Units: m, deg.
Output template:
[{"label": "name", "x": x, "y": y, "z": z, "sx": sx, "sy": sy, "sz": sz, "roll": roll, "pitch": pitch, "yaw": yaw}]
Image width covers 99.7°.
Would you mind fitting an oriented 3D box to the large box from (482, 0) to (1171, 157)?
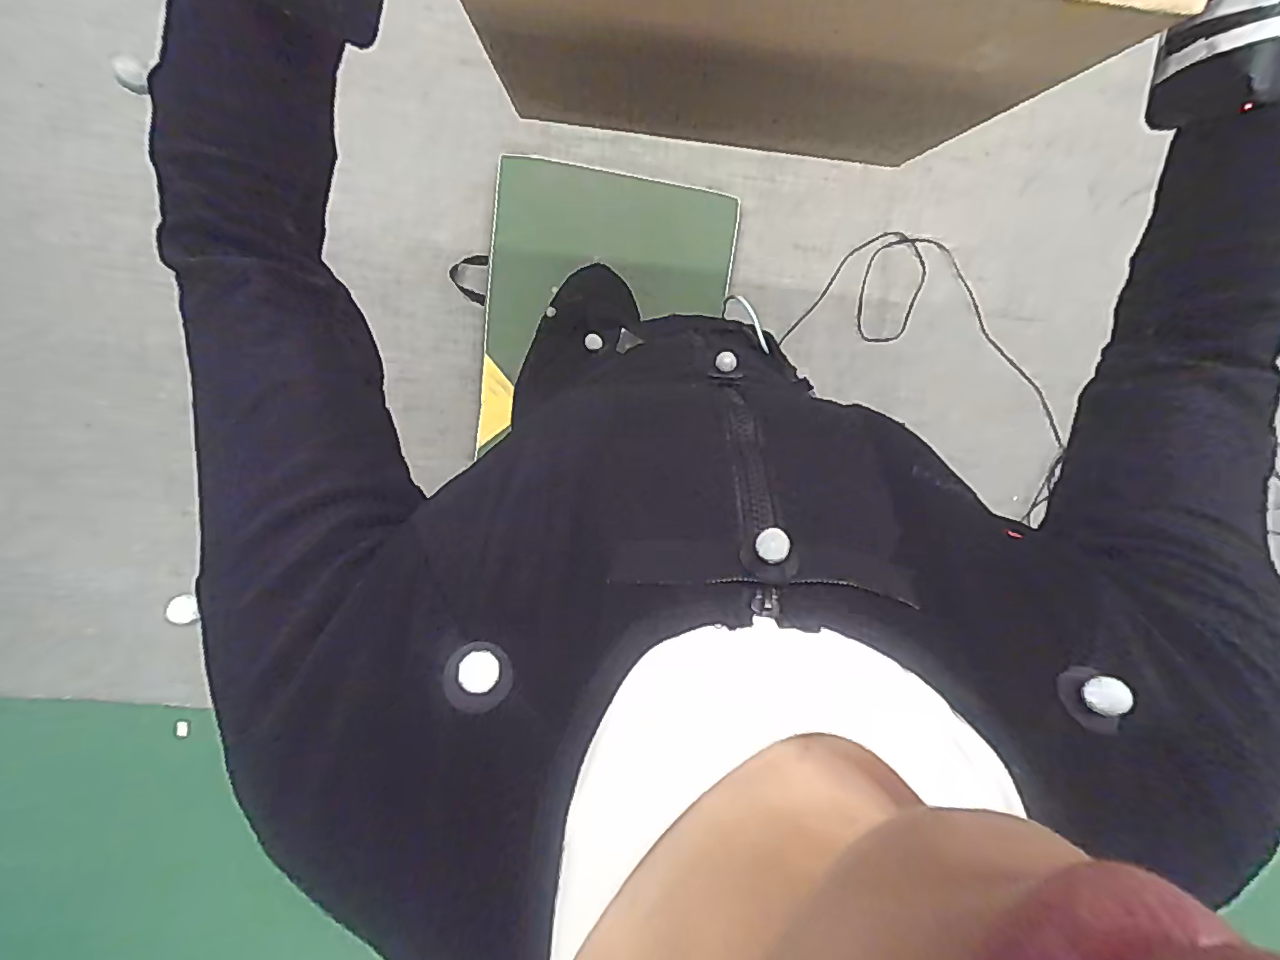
[{"label": "large box", "x": 0.098, "y": -0.456, "z": 0.377, "sx": 0.408, "sy": 0.320, "sz": 0.320, "roll": 4, "pitch": 107, "yaw": -5}]
